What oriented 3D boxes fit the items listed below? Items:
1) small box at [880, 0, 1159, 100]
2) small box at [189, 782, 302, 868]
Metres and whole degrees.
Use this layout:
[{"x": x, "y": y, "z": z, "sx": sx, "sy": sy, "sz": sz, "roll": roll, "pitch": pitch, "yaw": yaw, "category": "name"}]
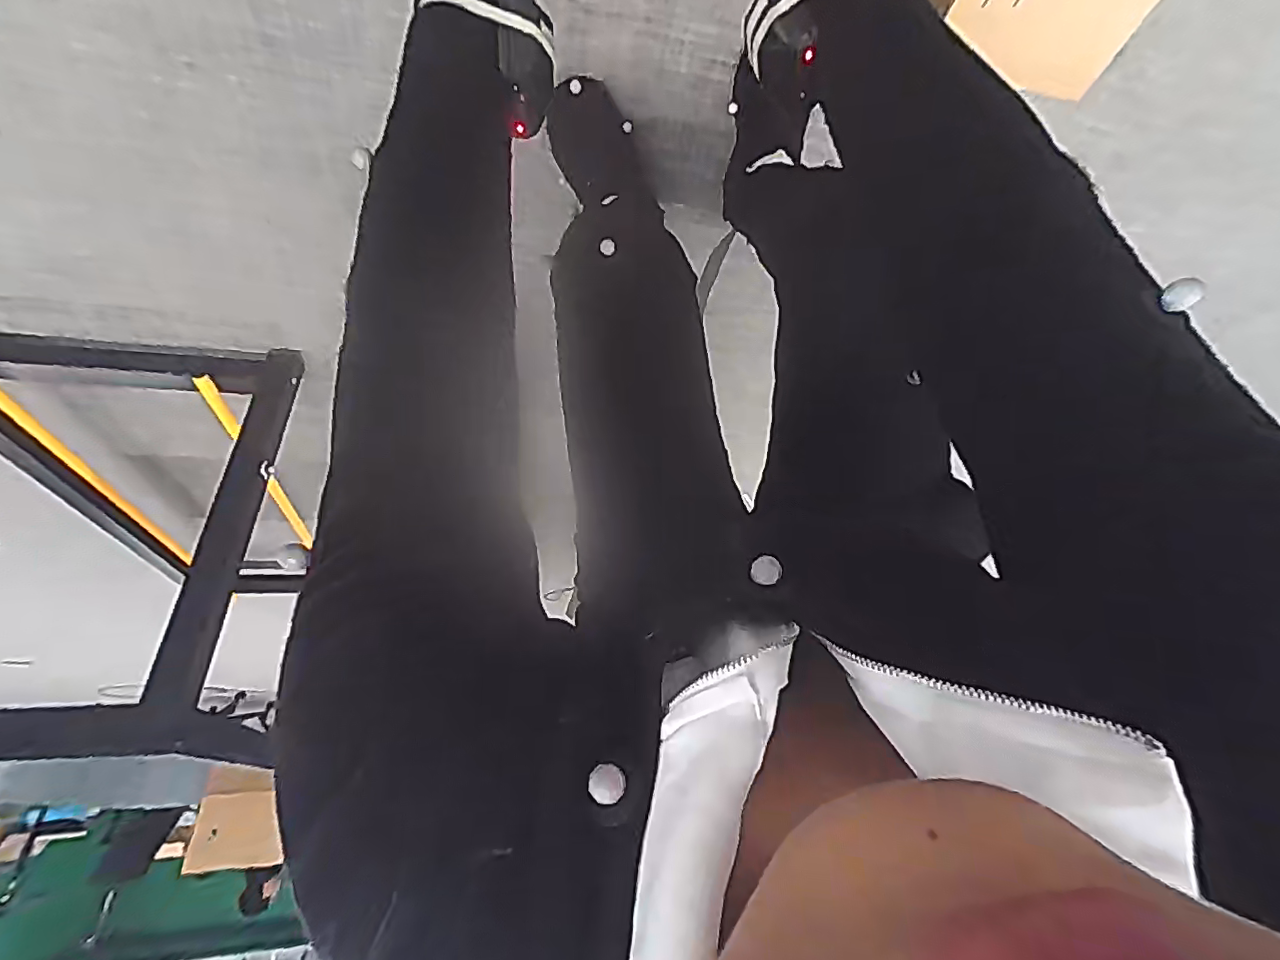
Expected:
[{"x": 0.325, "y": -0.460, "z": 0.447, "sx": 0.179, "sy": 0.176, "sz": 0.168, "roll": 2, "pitch": 149, "yaw": -13, "category": "small box"}, {"x": -1.019, "y": 0.899, "z": 1.414, "sx": 0.179, "sy": 0.176, "sz": 0.168, "roll": 3, "pitch": 149, "yaw": -14, "category": "small box"}]
